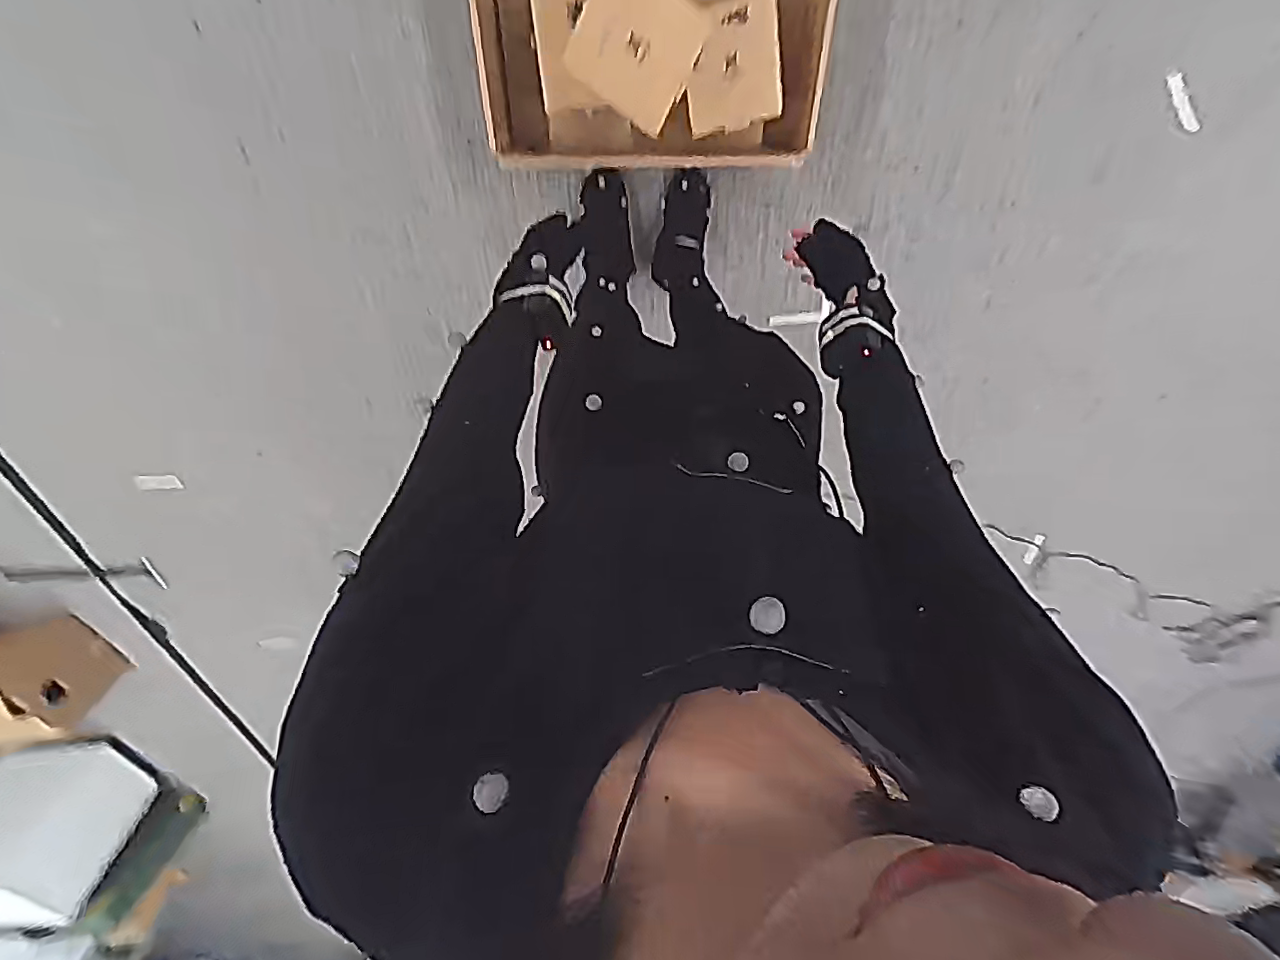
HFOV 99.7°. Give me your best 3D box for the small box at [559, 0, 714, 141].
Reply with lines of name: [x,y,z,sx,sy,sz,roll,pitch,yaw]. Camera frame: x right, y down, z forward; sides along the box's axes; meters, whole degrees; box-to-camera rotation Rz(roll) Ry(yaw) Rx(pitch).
small box: [-0.008,-0.677,0.861,0.179,0.176,0.168,26,118,-17]
